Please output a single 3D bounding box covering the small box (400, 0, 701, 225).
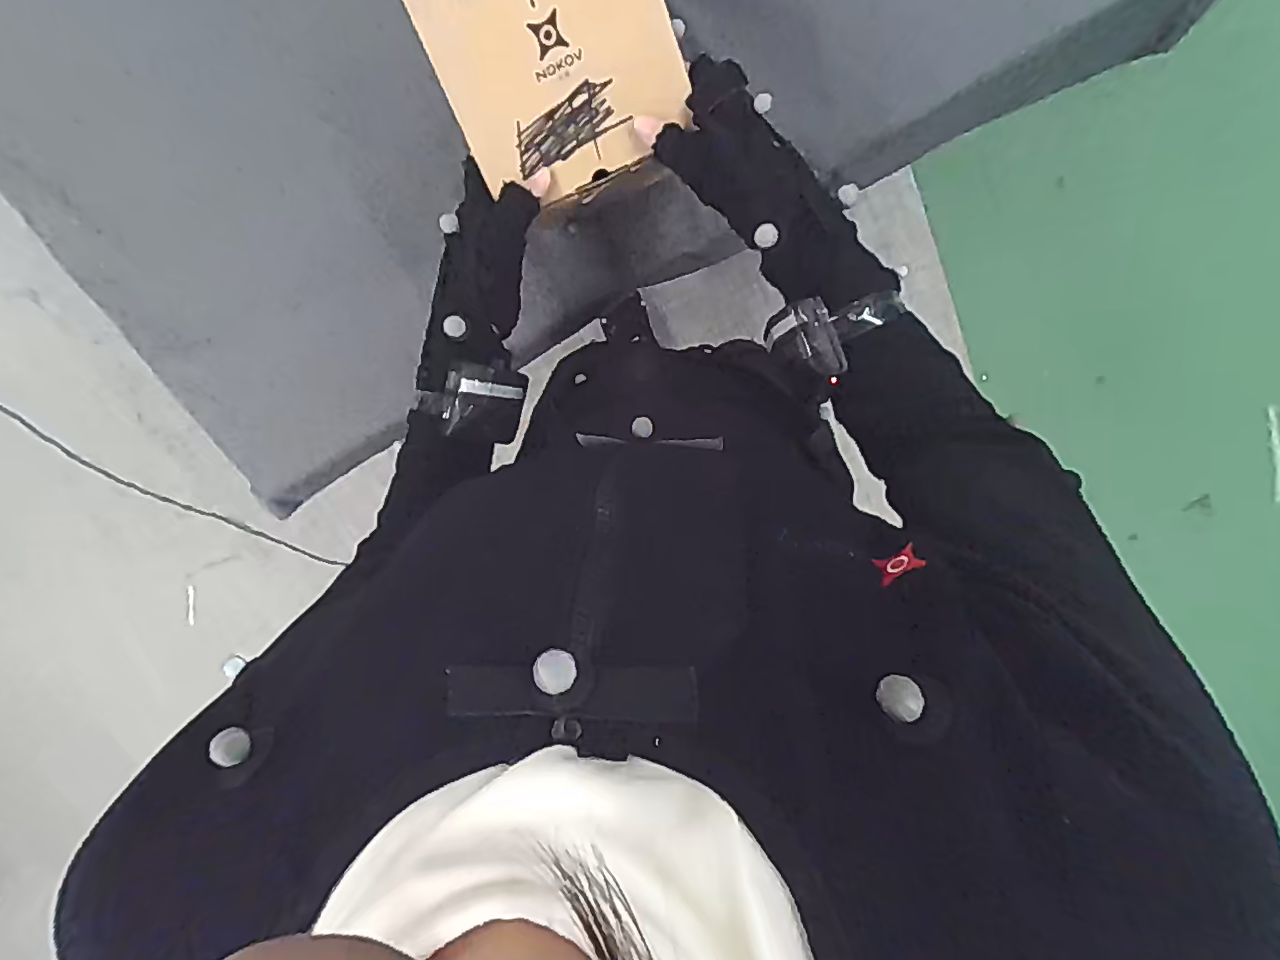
[{"bbox_3d":[-0.058,-0.336,0.449,0.168,0.176,0.179,-22,112,13],"label":"small box"}]

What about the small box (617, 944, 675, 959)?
[{"bbox_3d":[0.005,1.561,1.643,0.179,0.176,0.168,15,110,-6],"label":"small box"}]
